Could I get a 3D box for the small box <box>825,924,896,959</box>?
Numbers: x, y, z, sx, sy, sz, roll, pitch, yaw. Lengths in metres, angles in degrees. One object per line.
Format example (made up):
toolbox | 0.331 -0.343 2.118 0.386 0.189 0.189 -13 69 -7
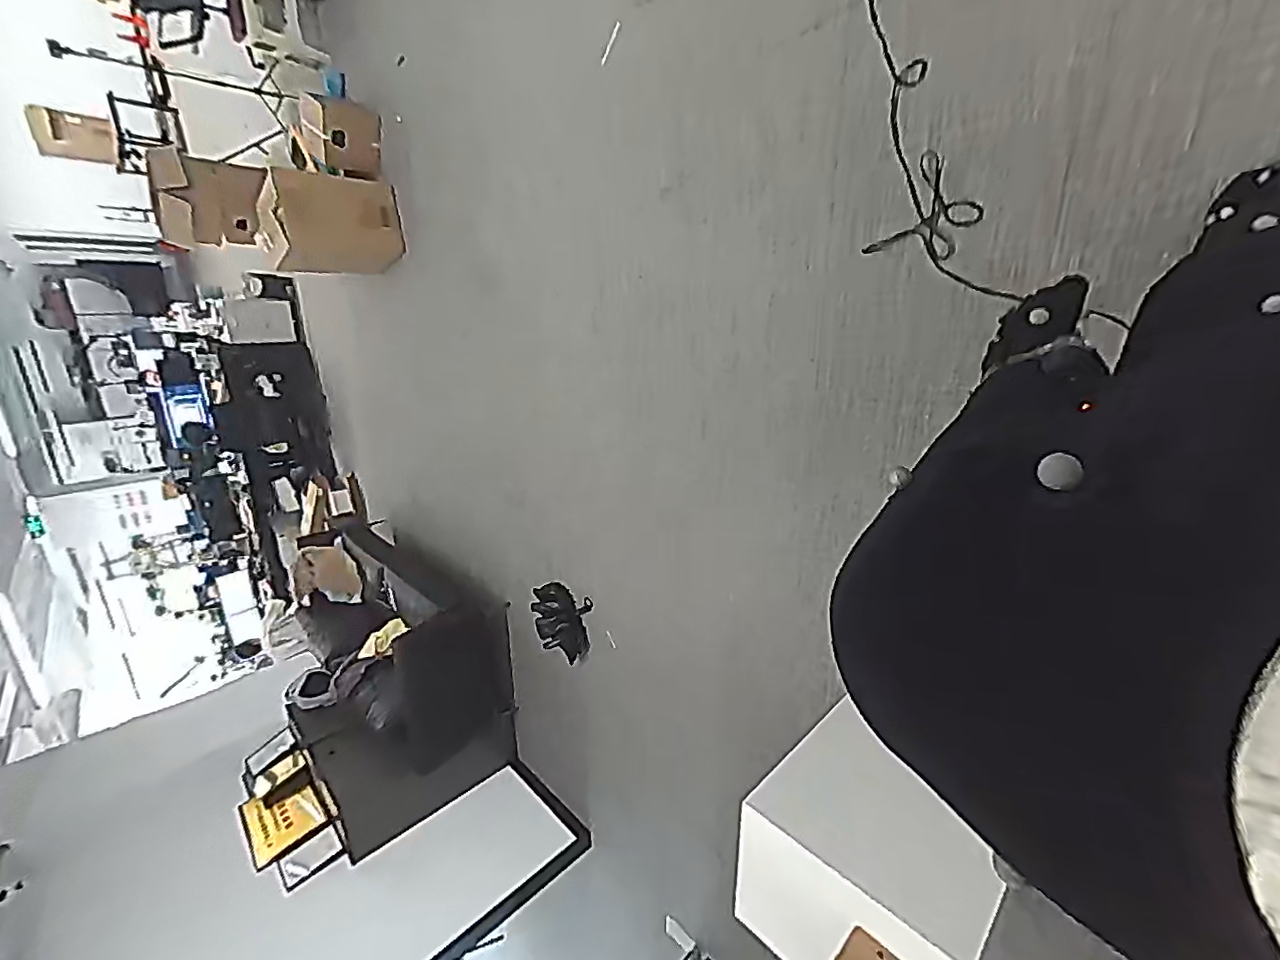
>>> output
small box | 0.438 1.046 1.059 0.168 0.176 0.179 21 118 43
